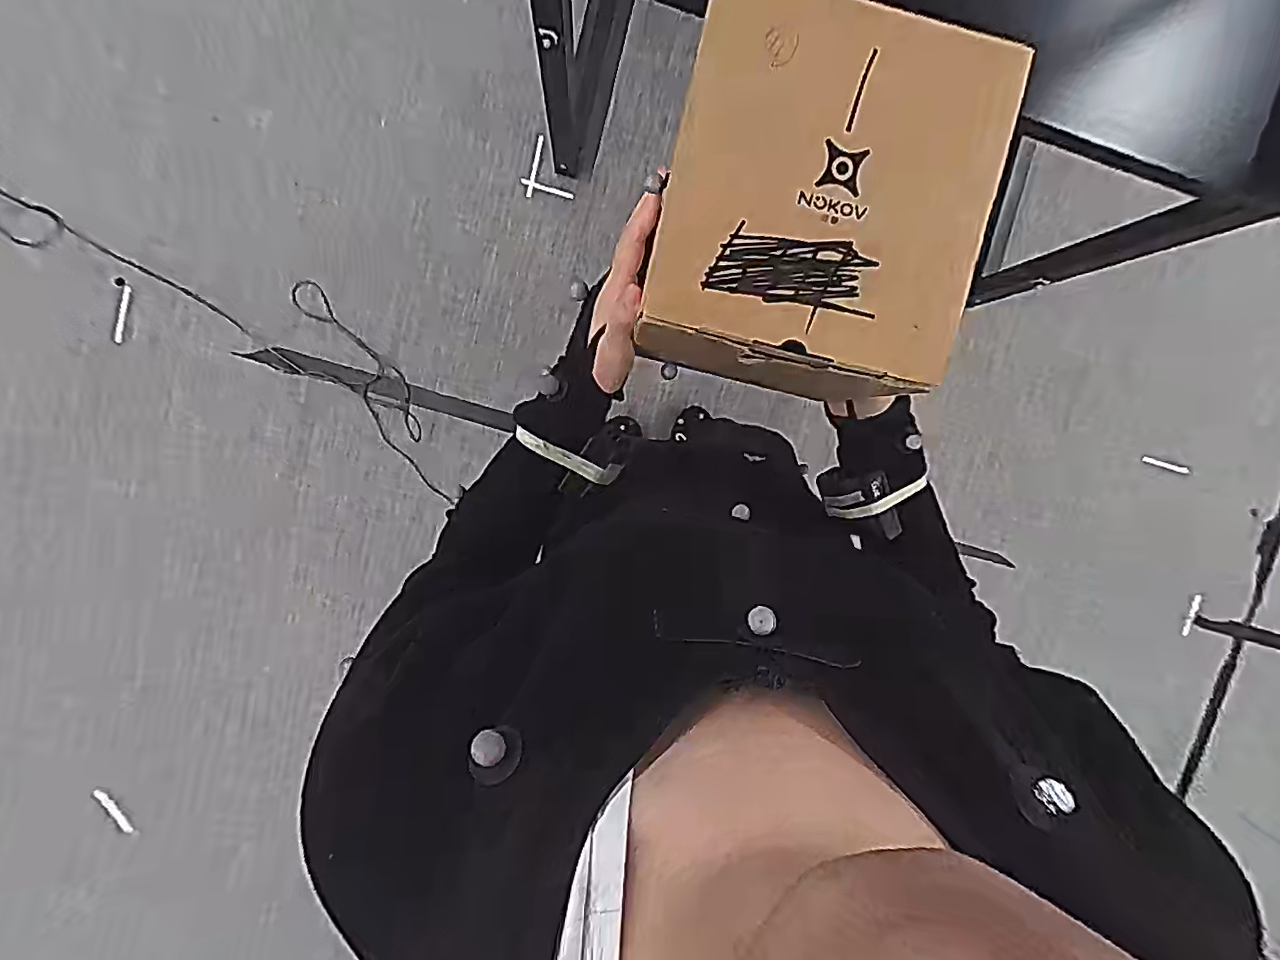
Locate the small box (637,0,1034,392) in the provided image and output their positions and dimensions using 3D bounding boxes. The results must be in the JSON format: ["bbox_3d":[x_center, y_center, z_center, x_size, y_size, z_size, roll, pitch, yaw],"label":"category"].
[{"bbox_3d":[0.096,-0.160,0.352,0.168,0.176,0.179,13,95,-4],"label":"small box"}]

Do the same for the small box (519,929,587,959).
[{"bbox_3d":[-0.256,1.439,1.543,0.179,0.176,0.168,23,94,-9],"label":"small box"}]
